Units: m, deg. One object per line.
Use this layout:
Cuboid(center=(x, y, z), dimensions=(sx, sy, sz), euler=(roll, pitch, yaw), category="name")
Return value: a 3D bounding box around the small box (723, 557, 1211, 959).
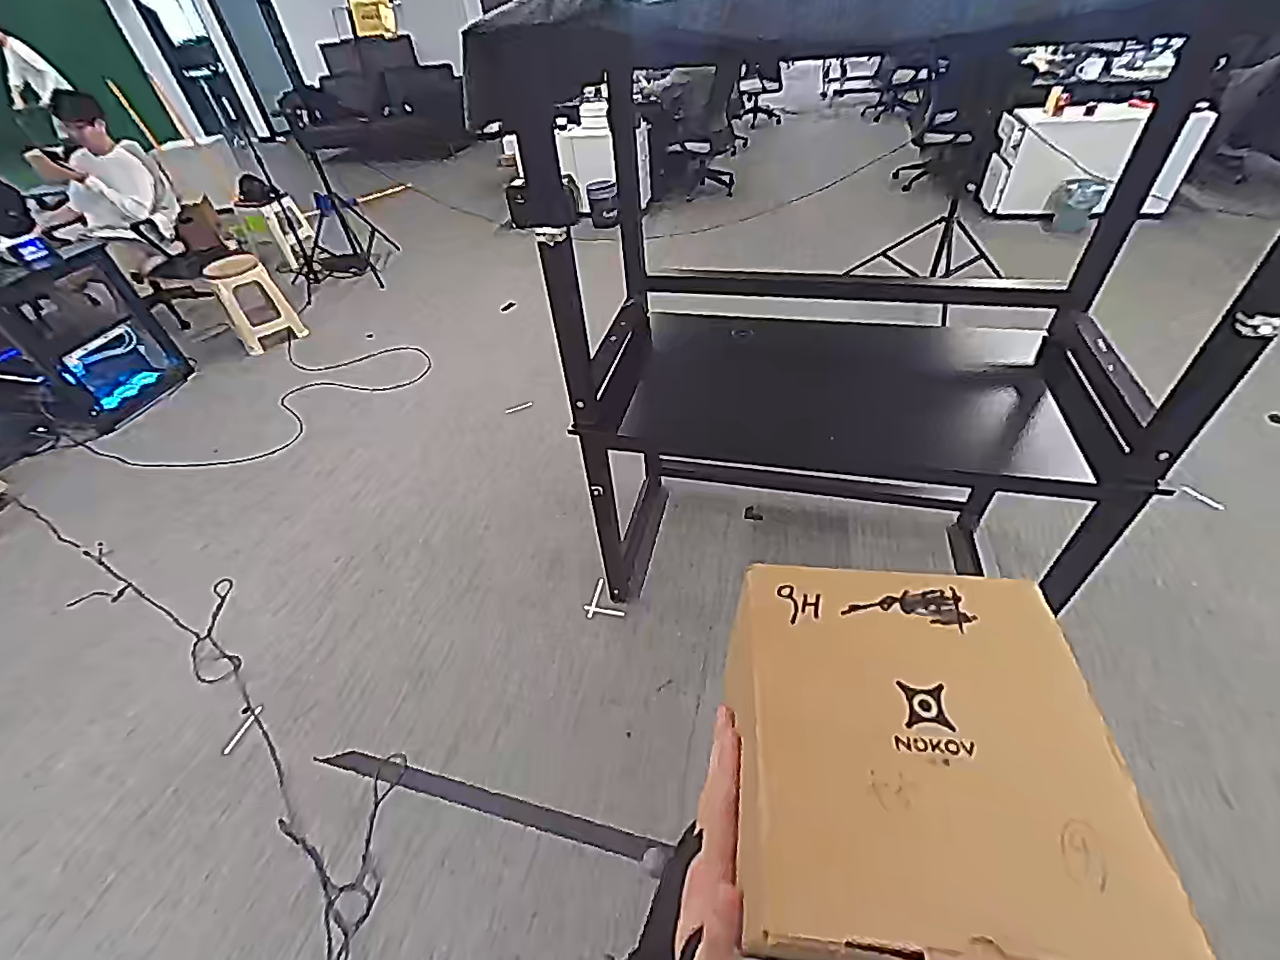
Cuboid(center=(0.138, 0.167, 0.314), dimensions=(0.168, 0.176, 0.179), euler=(3, 48, 5), category="small box")
